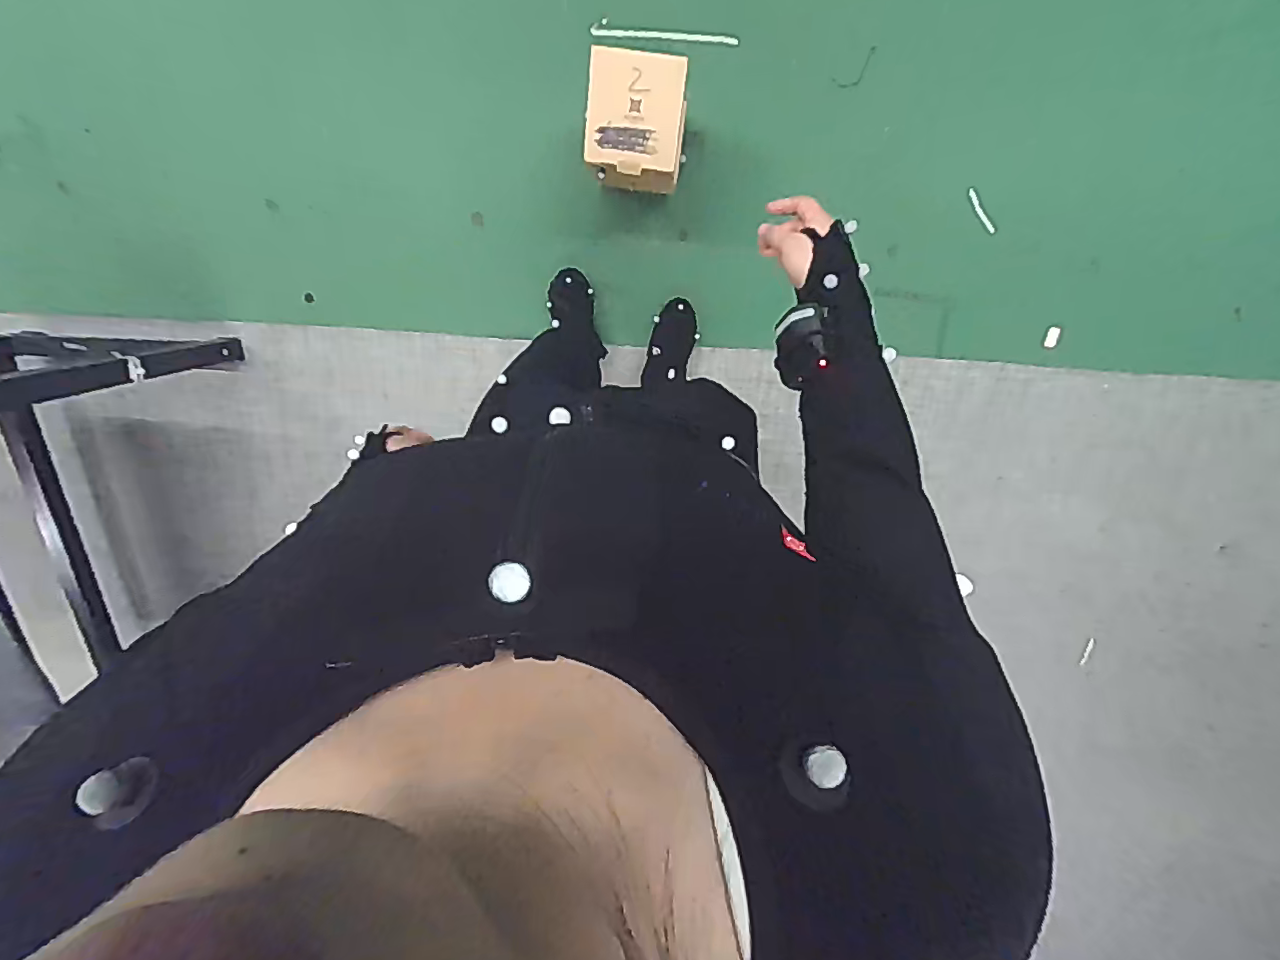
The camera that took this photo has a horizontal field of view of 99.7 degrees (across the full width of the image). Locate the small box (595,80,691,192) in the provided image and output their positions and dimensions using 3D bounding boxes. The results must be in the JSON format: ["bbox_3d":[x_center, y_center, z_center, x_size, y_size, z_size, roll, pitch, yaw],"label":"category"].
[{"bbox_3d":[0.005,-0.722,1.154,0.179,0.176,0.168,7,112,-1],"label":"small box"}]
